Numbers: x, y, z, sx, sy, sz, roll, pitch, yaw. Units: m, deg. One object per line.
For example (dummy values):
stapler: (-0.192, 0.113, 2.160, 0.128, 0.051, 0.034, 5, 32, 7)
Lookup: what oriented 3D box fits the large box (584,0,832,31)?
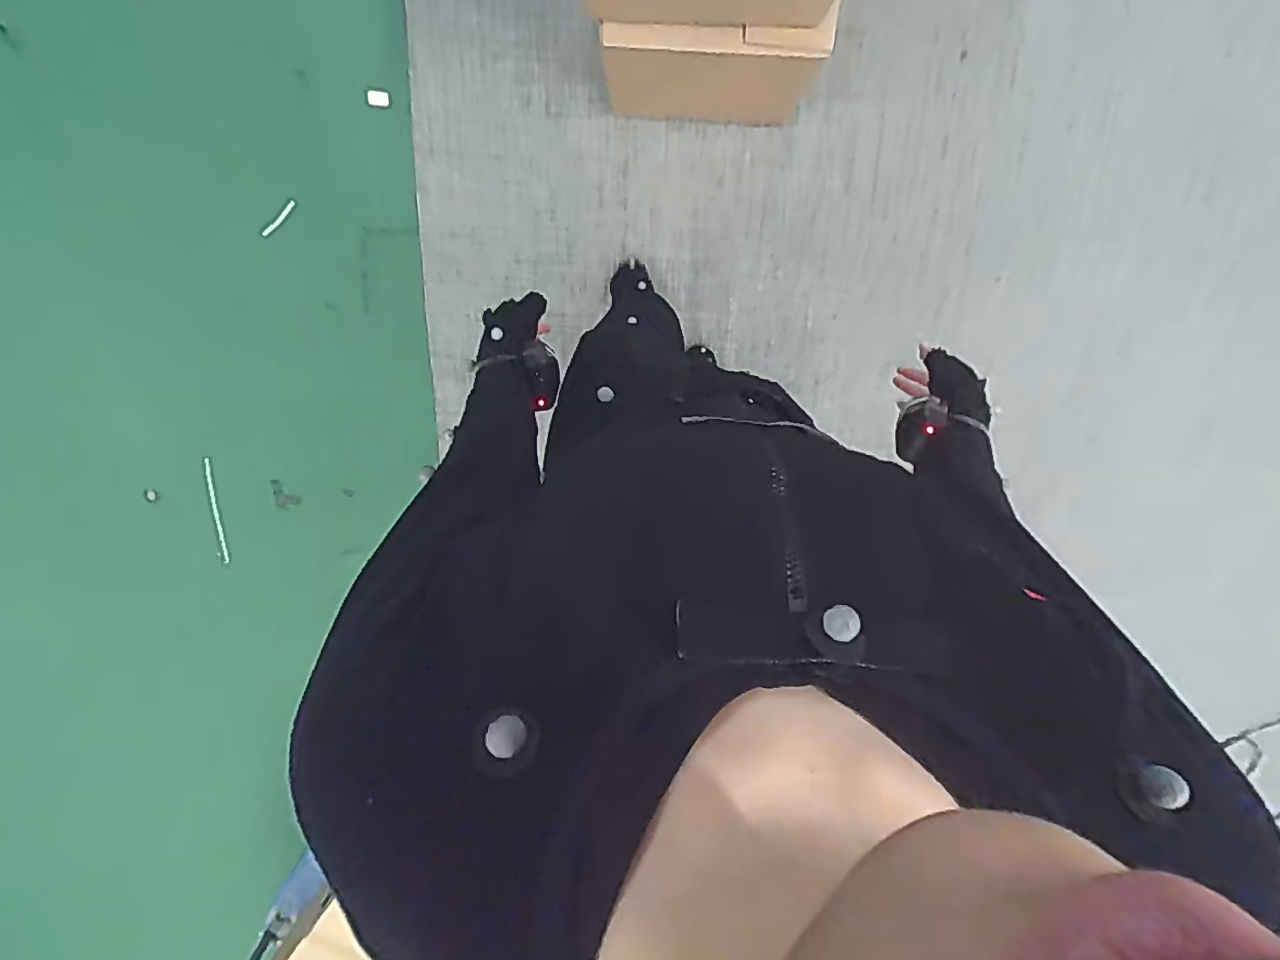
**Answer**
large box: (0.109, -0.887, 0.747, 0.408, 0.320, 0.320, 2, 102, -1)
